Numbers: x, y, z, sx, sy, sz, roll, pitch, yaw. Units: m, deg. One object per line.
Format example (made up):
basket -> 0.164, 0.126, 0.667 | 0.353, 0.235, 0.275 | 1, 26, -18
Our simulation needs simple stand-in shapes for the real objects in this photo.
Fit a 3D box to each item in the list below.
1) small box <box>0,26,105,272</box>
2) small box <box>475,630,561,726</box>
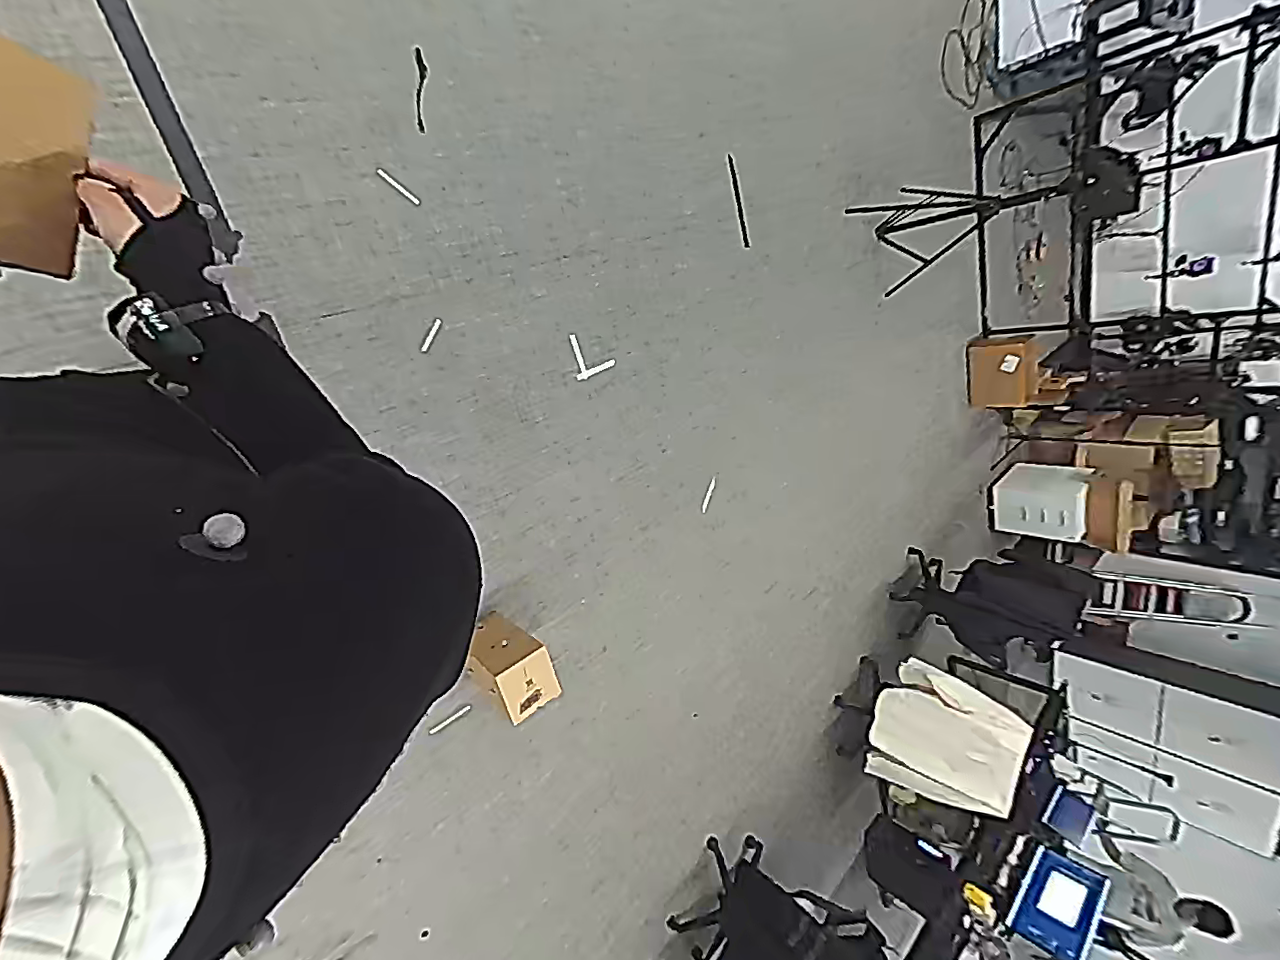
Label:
small box -> -0.573, -0.276, 0.410 | 0.179, 0.176, 0.168 | -1, 105, -70
small box -> -0.363, 0.578, 1.602 | 0.168, 0.176, 0.179 | -27, 112, -33
